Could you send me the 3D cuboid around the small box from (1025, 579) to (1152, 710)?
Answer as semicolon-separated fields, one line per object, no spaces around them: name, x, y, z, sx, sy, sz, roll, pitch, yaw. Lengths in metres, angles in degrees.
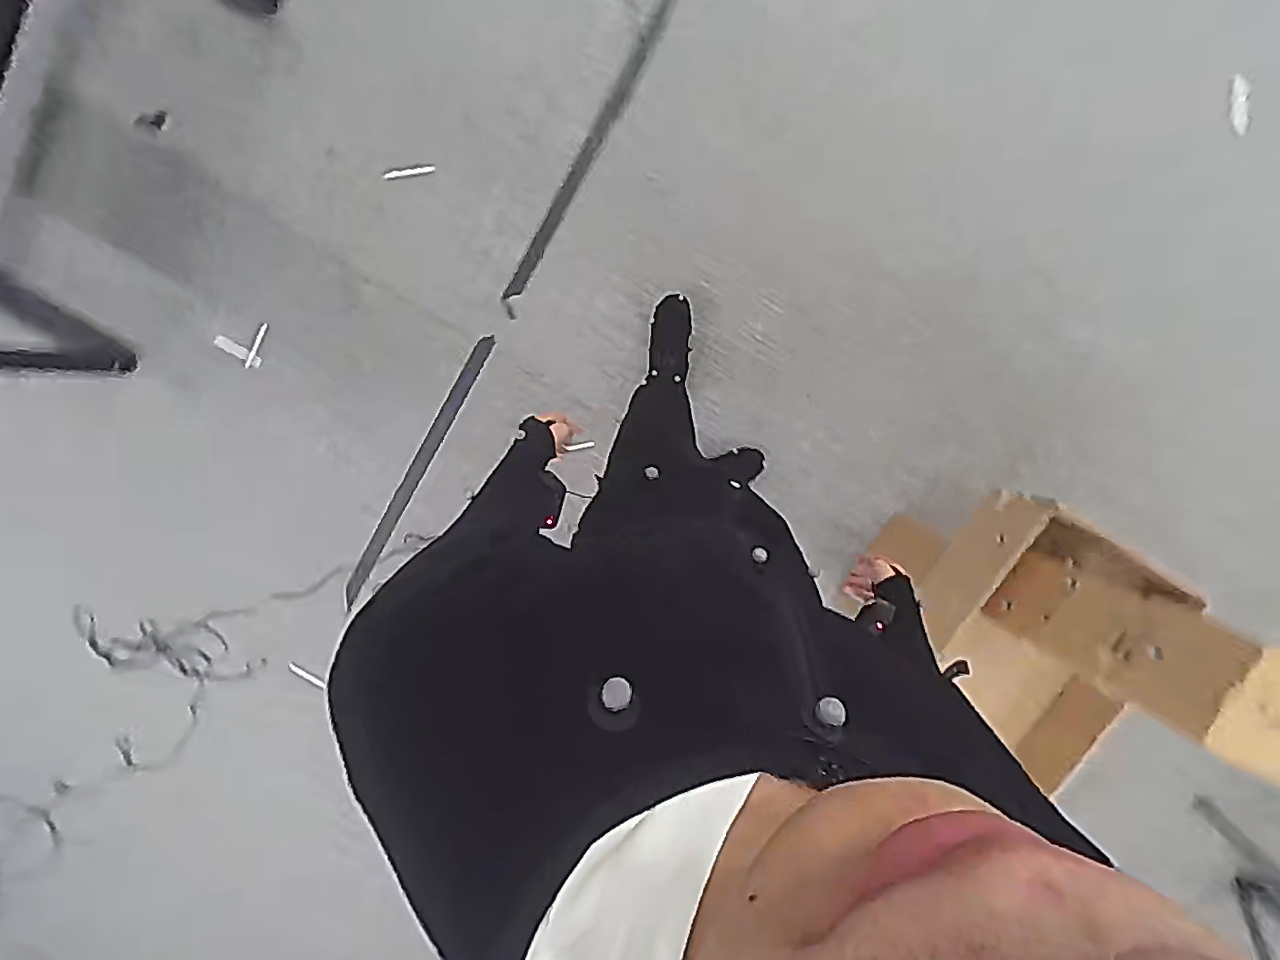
small box;0.858;0.300;0.979;0.179;0.176;0.168;27;99;-4

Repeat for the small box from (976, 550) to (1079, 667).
small box;0.855;0.274;1.140;0.168;0.176;0.179;25;99;-3

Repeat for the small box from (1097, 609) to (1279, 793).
small box;0.866;0.320;0.814;0.179;0.176;0.168;25;99;-4
